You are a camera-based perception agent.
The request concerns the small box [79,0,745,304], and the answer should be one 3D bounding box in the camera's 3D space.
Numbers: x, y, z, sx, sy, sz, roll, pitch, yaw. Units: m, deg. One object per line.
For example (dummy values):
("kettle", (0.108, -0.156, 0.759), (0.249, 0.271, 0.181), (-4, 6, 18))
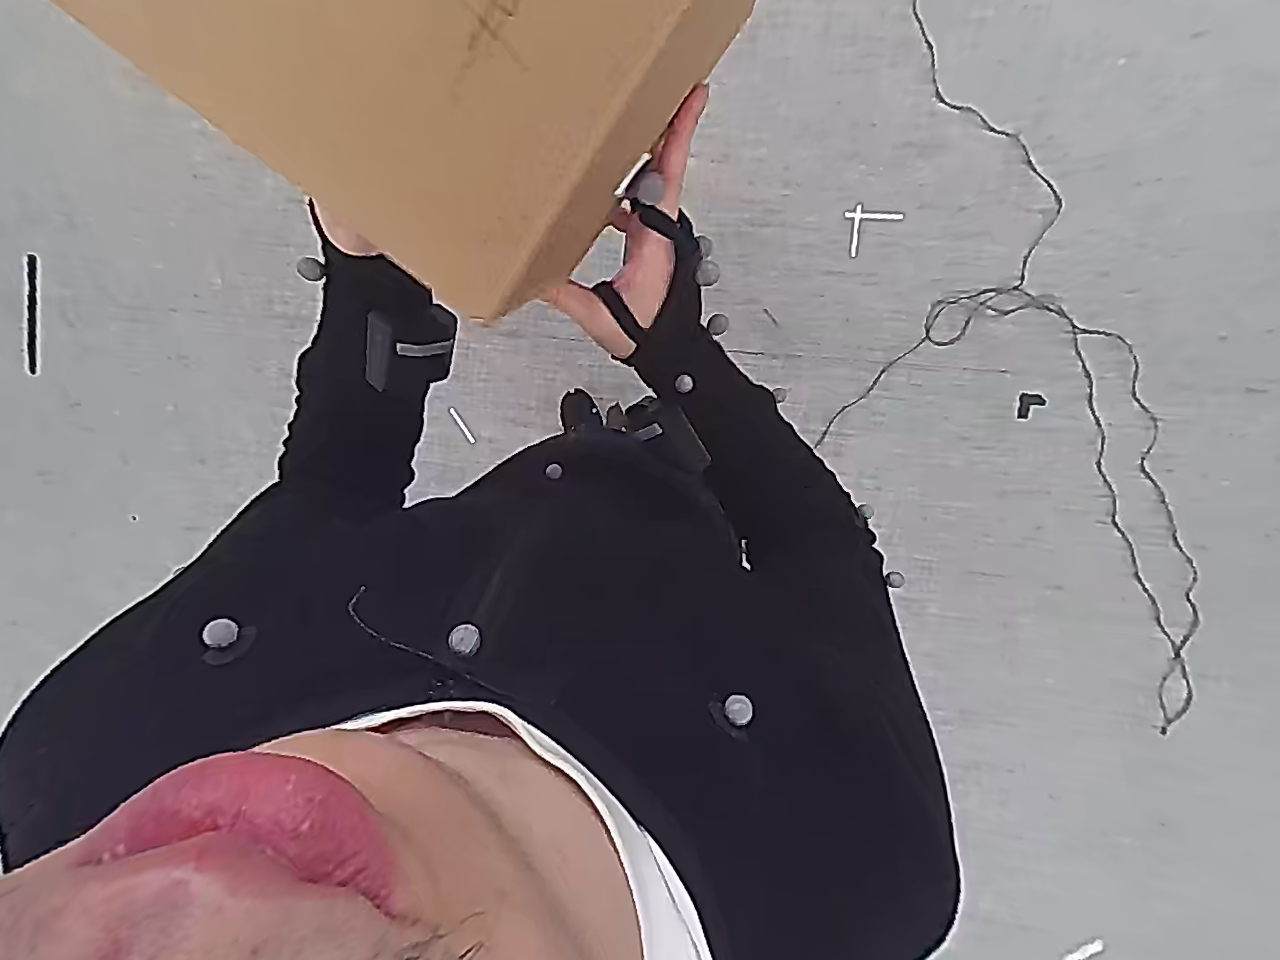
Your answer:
("small box", (-0.067, -0.204, 0.228), (0.179, 0.176, 0.168), (35, 115, -13))
